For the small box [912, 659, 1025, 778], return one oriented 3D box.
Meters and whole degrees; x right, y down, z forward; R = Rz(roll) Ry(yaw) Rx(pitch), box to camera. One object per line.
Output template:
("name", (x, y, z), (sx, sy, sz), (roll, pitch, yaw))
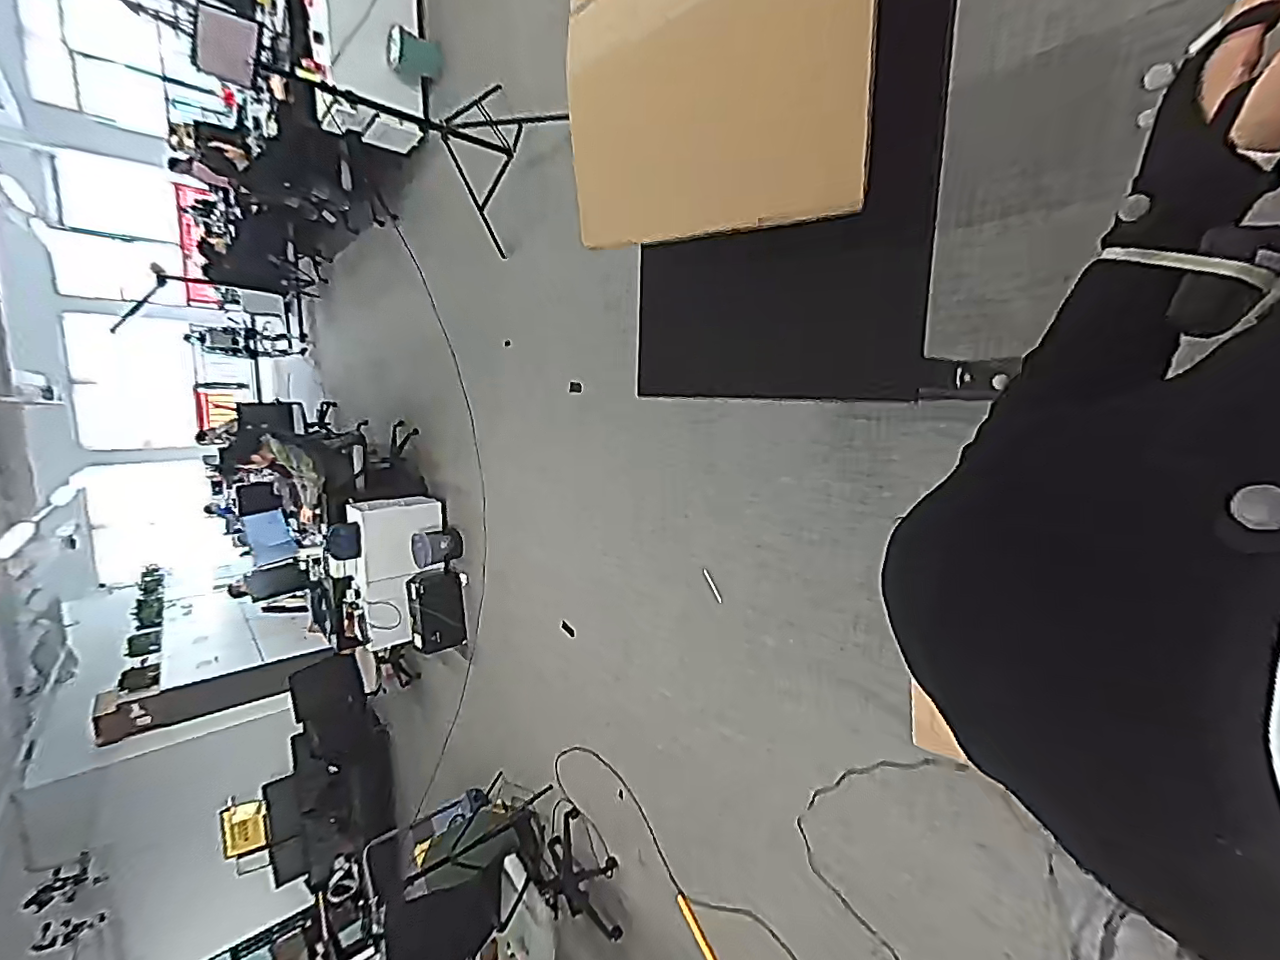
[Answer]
("small box", (0.731, 0.514, 1.199), (0.179, 0.176, 0.168), (1, 94, 51))
